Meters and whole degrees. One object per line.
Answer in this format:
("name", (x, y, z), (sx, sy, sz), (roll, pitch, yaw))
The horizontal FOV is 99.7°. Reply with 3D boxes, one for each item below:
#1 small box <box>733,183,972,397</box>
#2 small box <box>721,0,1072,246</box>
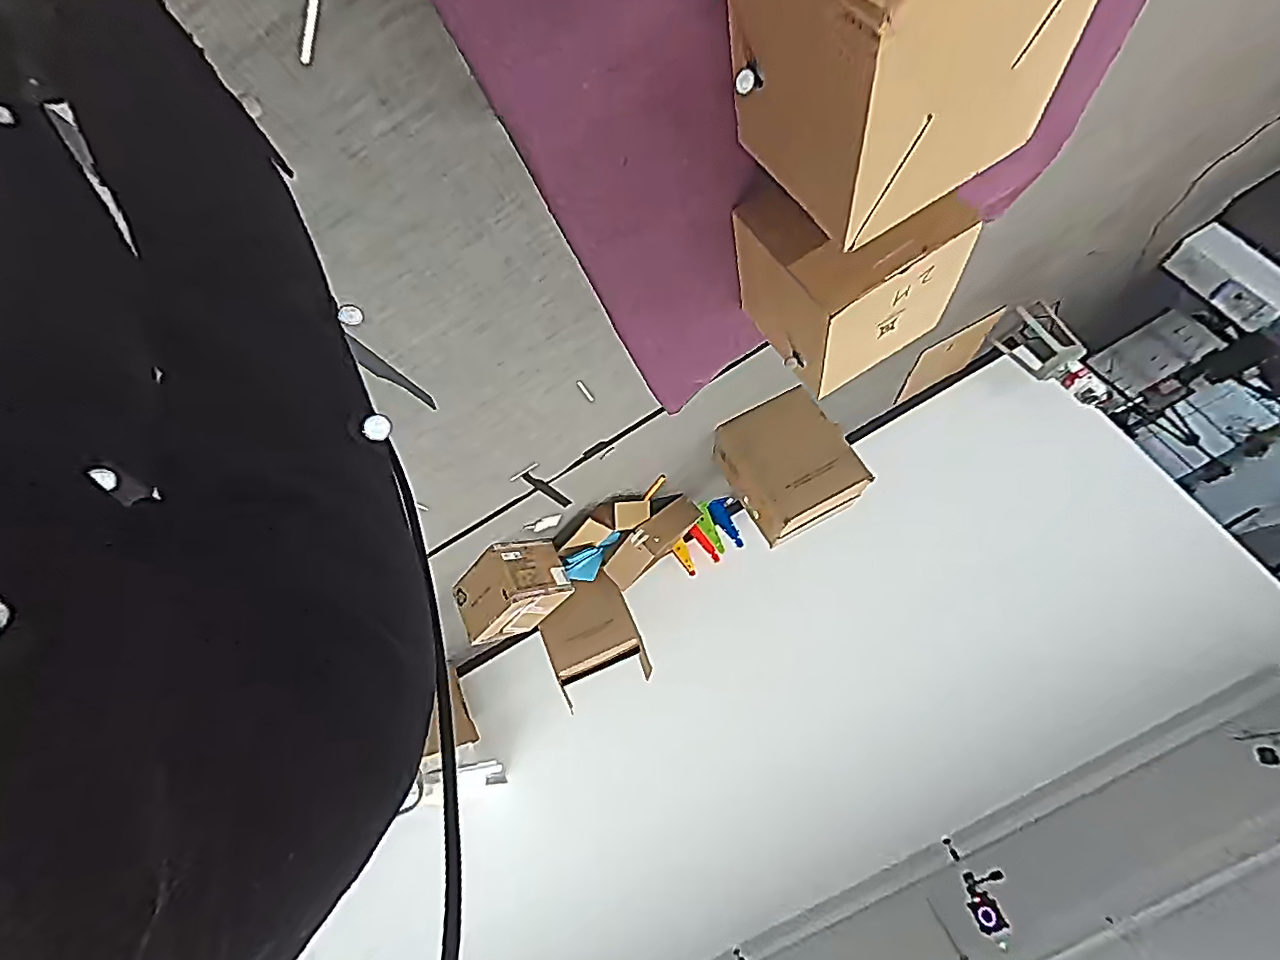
("small box", (0.221, -0.233, 0.612), (0.168, 0.176, 0.179), (-33, 157, 1))
("small box", (0.174, -0.315, 0.384), (0.168, 0.176, 0.179), (-32, 157, 1))
